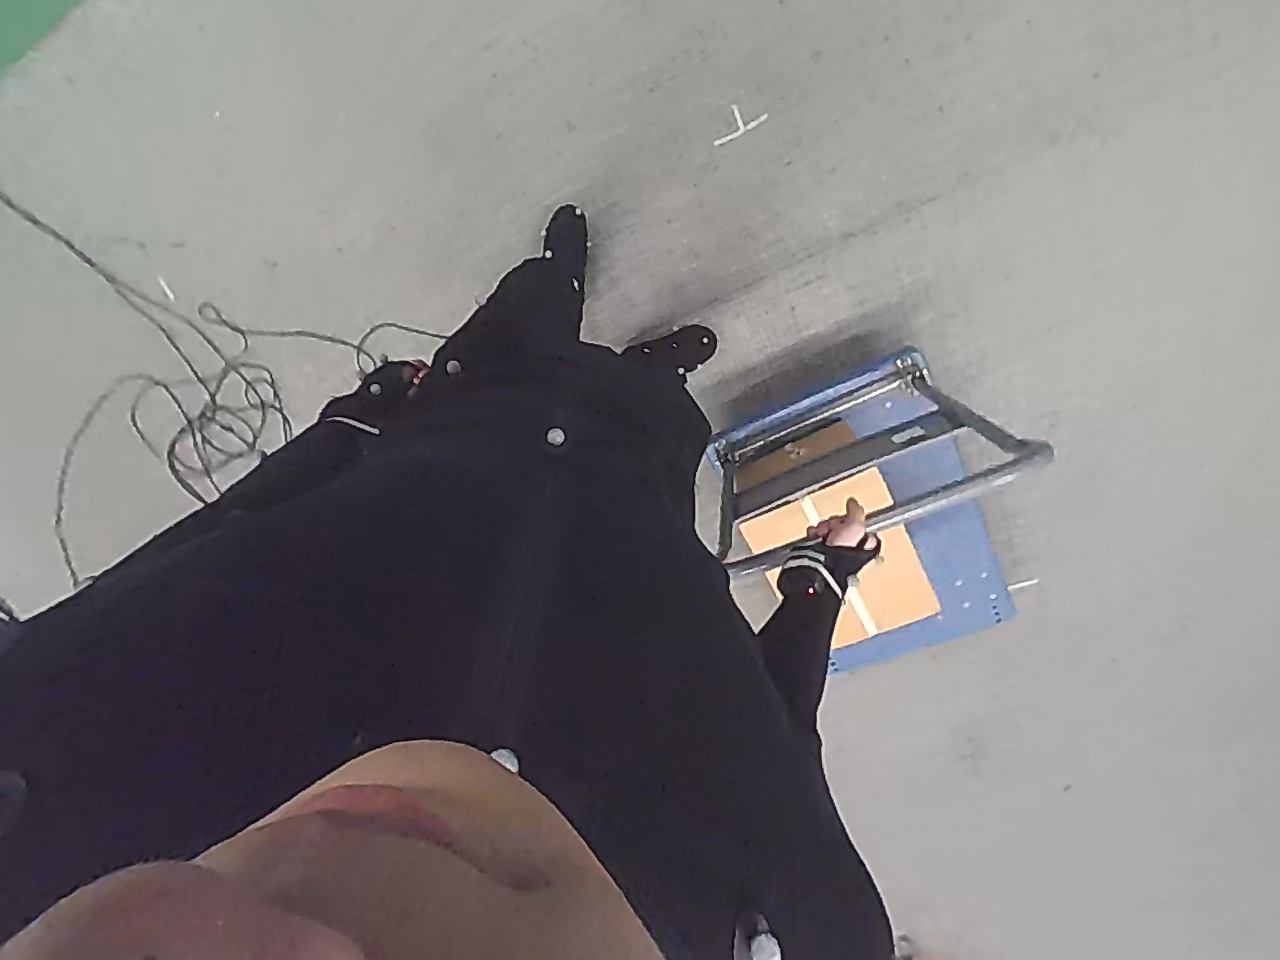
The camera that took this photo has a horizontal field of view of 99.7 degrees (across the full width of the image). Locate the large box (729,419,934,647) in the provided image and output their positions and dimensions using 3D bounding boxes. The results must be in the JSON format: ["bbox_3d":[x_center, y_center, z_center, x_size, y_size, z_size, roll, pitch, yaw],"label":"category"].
[{"bbox_3d":[0.450,0.122,1.337,0.320,0.320,0.408,-25,110,18],"label":"large box"}]
